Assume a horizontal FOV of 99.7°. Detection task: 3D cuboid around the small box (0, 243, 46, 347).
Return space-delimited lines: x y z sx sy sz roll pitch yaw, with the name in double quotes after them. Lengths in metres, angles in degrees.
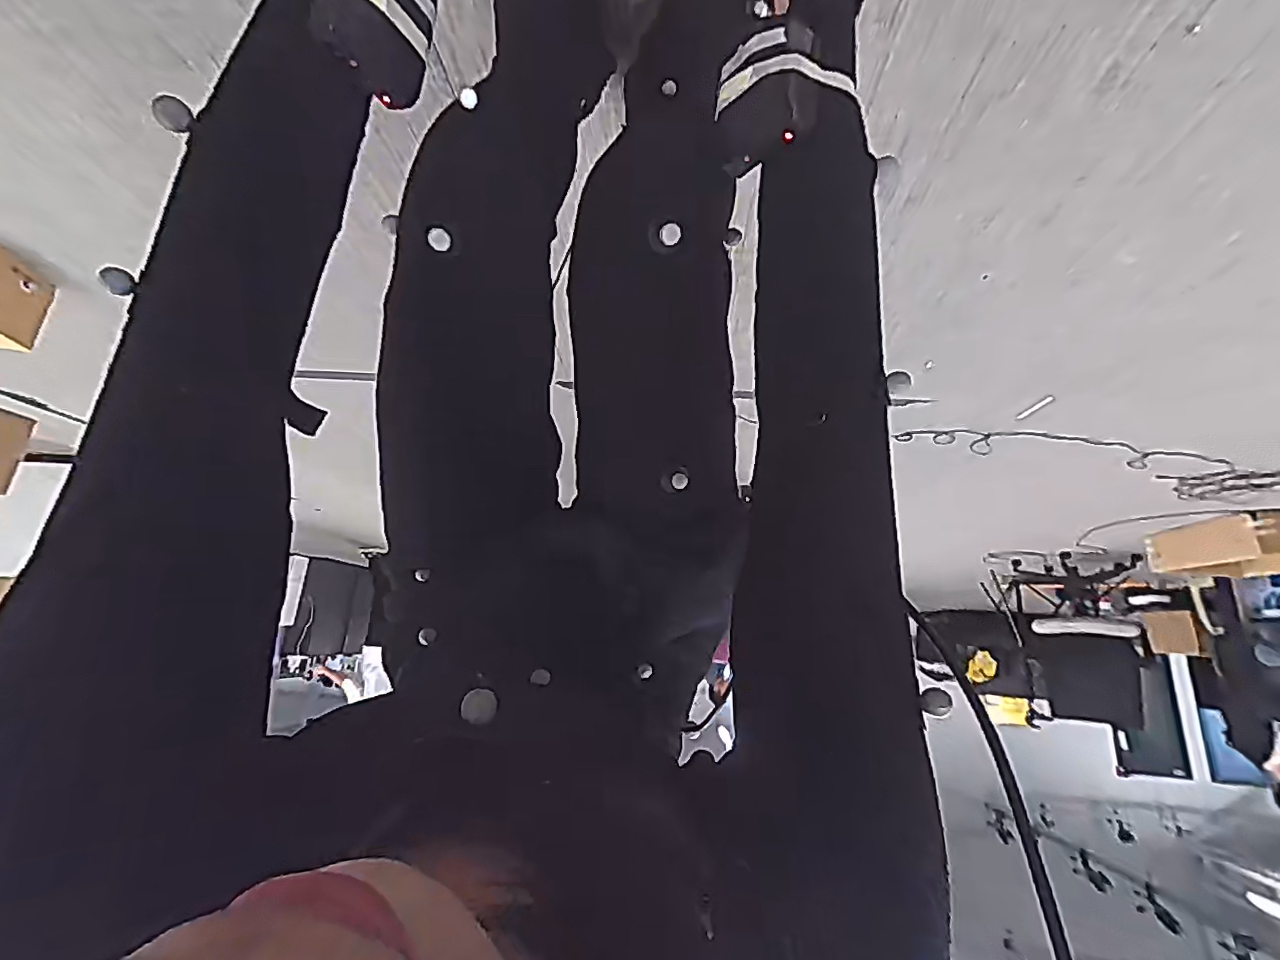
-1.391 -0.398 1.096 0.179 0.176 0.168 7 164 -12 "small box"
